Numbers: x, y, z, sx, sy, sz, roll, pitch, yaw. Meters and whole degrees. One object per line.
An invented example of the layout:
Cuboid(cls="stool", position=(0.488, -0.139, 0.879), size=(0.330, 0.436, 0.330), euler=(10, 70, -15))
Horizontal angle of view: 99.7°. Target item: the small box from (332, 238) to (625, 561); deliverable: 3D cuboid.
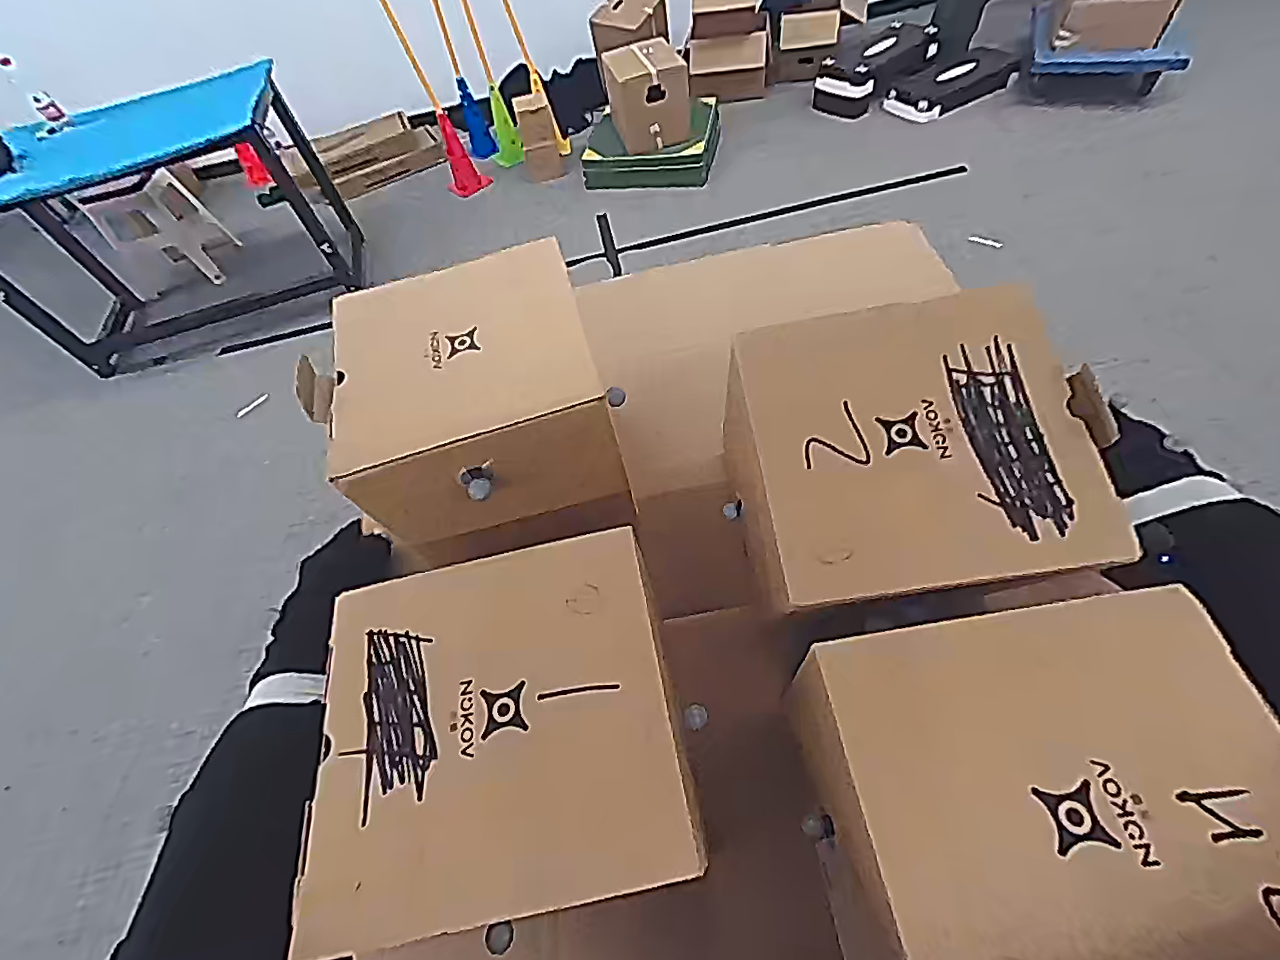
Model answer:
Cuboid(cls="small box", position=(-0.116, -0.055, 0.442), size=(0.179, 0.176, 0.168), euler=(-18, 59, -1))
